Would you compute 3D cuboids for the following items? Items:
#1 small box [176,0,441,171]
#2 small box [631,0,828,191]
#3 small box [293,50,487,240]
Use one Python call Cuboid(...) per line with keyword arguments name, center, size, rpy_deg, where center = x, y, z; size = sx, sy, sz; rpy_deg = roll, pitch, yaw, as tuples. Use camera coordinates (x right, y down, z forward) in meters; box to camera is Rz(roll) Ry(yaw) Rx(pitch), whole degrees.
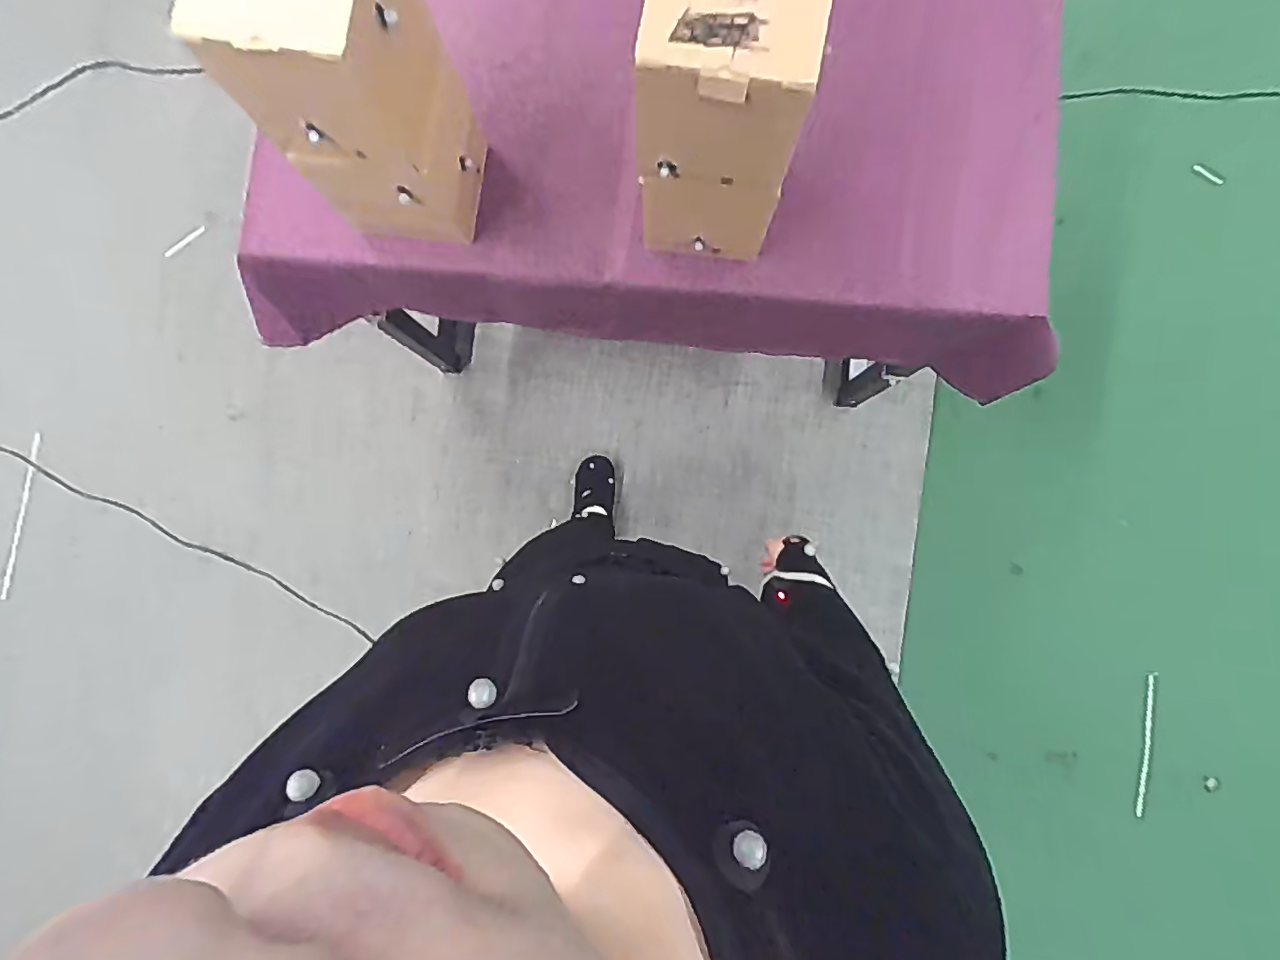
Cuboid(name="small box", center=(-0.332, -0.473, 0.579), size=(0.168, 0.176, 0.179), rpy_deg=(8, 87, 2))
Cuboid(name="small box", center=(0.091, -0.435, 0.559), size=(0.168, 0.176, 0.179), rpy_deg=(11, 86, 3))
Cuboid(name="small box", center=(-0.325, -0.453, 0.741), size=(0.179, 0.176, 0.168), rpy_deg=(8, 86, 2))
